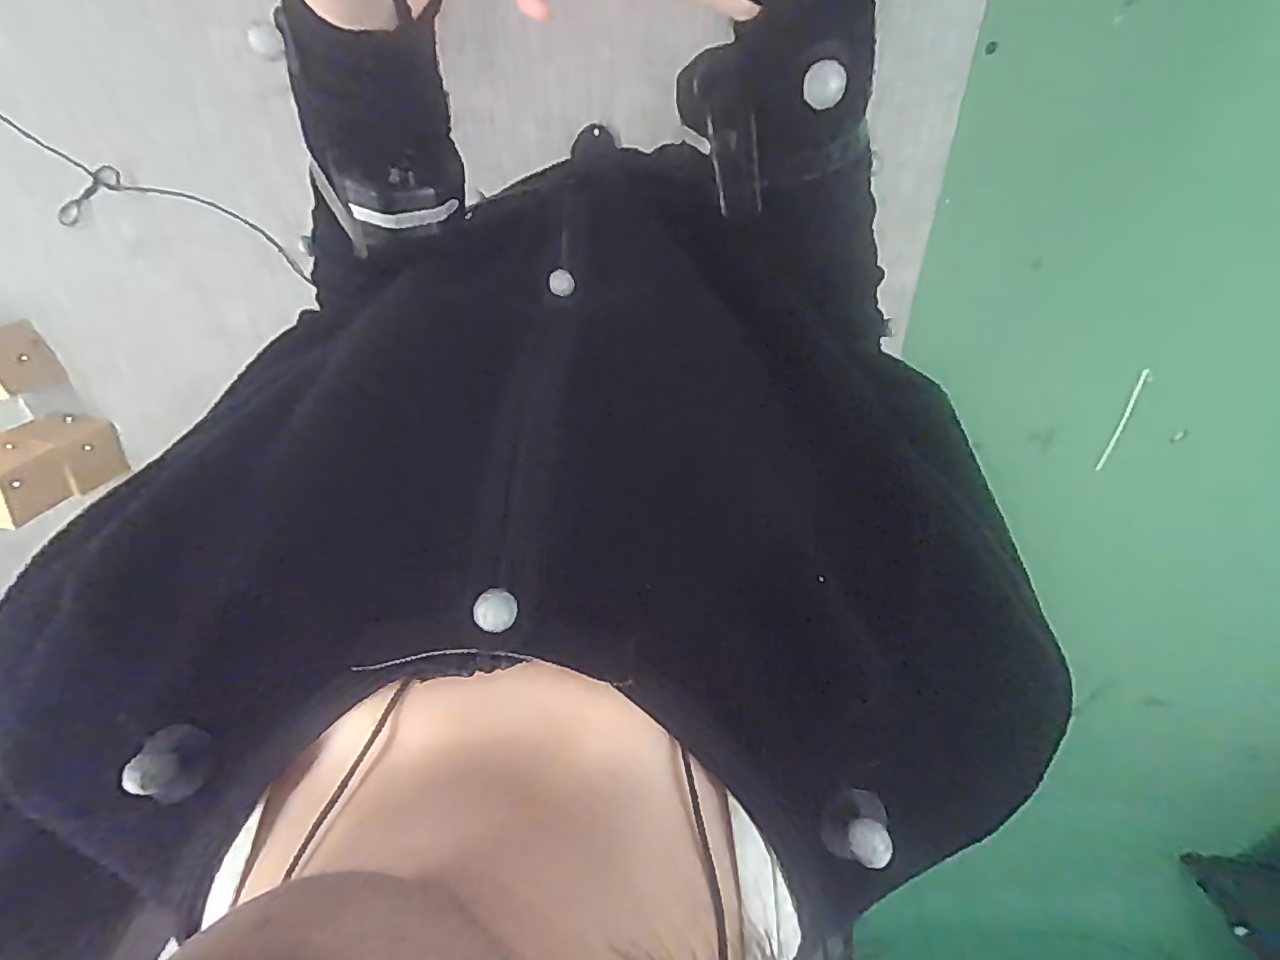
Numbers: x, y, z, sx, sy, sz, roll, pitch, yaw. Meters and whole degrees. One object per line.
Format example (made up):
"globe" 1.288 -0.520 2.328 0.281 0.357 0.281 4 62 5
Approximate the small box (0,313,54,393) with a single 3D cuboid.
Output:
"small box" -1.714 -0.326 1.412 0.179 0.176 0.168 -6 121 6

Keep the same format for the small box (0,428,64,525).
"small box" -1.683 -0.014 1.417 0.168 0.176 0.179 14 120 -7
